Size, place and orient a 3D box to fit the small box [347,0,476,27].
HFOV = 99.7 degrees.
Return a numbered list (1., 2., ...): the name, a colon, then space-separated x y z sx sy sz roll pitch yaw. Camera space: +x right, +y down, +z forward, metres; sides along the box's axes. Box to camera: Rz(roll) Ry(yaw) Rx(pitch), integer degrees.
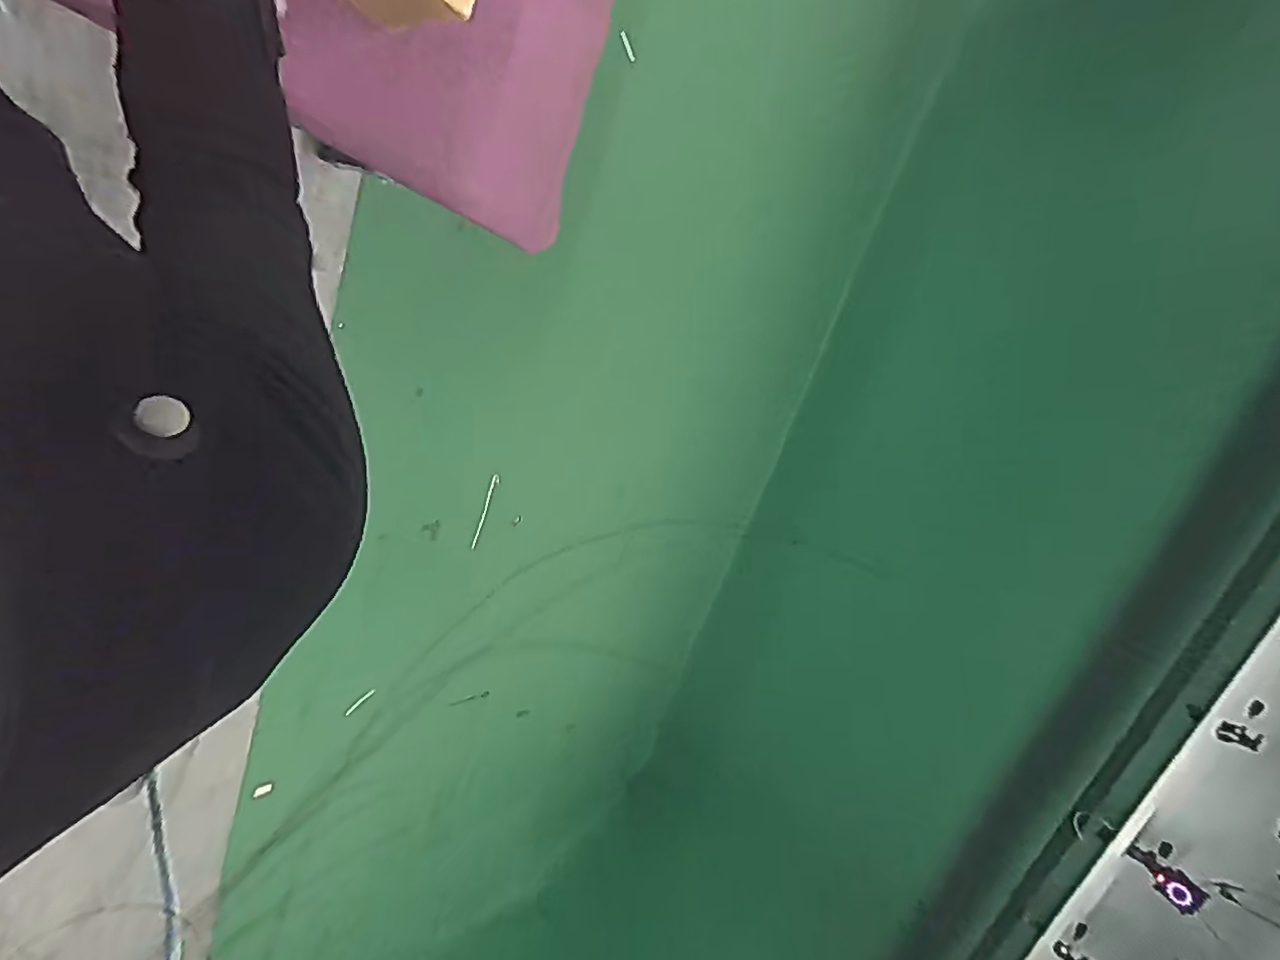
1. small box: -0.245 -0.570 0.499 0.168 0.176 0.179 6 108 -54
